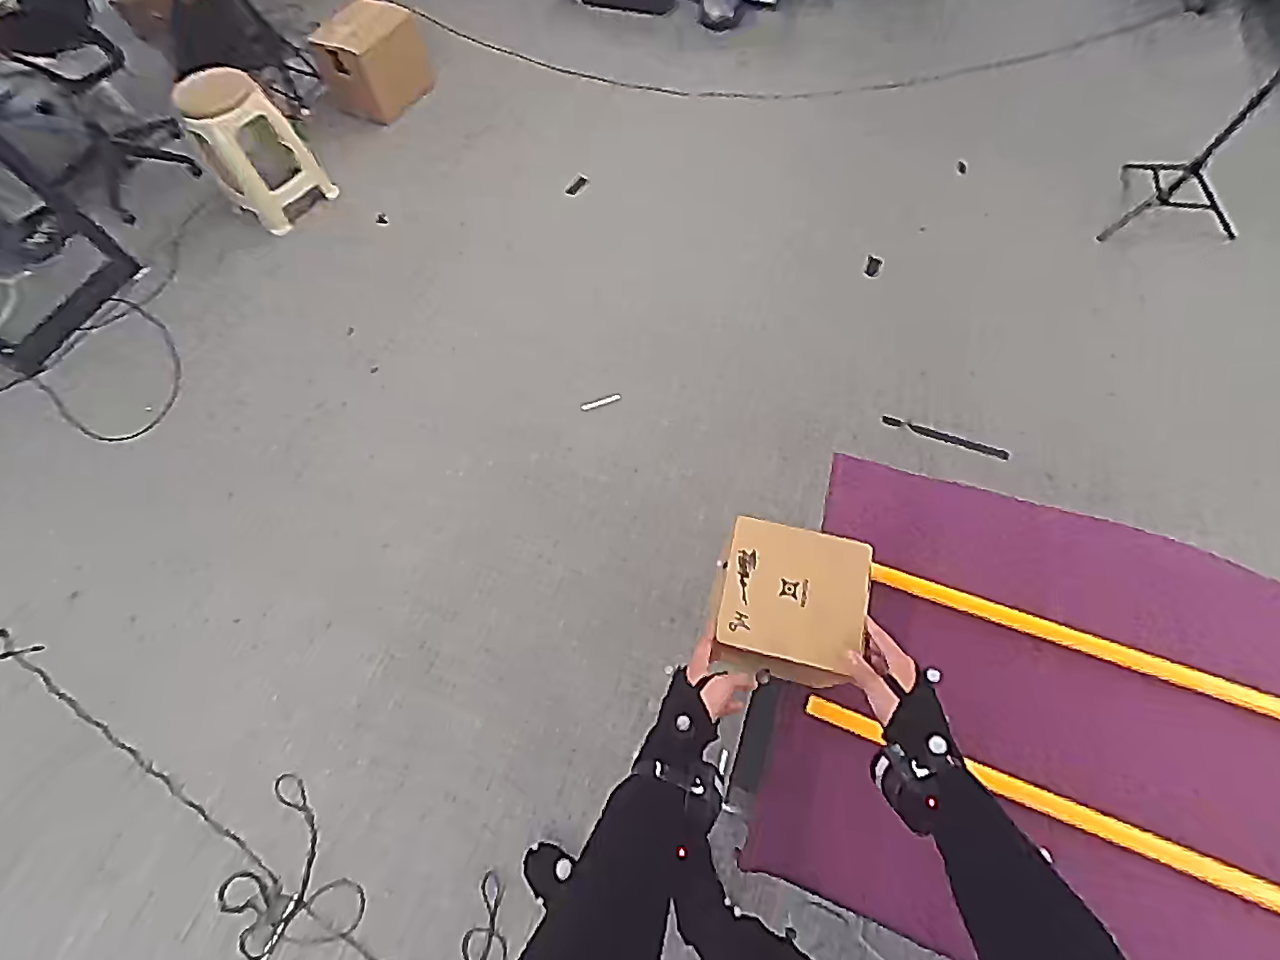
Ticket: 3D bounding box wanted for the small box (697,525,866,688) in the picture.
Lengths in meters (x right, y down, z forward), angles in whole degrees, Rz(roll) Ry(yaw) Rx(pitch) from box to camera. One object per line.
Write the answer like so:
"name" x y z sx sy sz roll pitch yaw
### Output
"small box" 0.185 0.180 0.742 0.179 0.176 0.168 13 67 6
